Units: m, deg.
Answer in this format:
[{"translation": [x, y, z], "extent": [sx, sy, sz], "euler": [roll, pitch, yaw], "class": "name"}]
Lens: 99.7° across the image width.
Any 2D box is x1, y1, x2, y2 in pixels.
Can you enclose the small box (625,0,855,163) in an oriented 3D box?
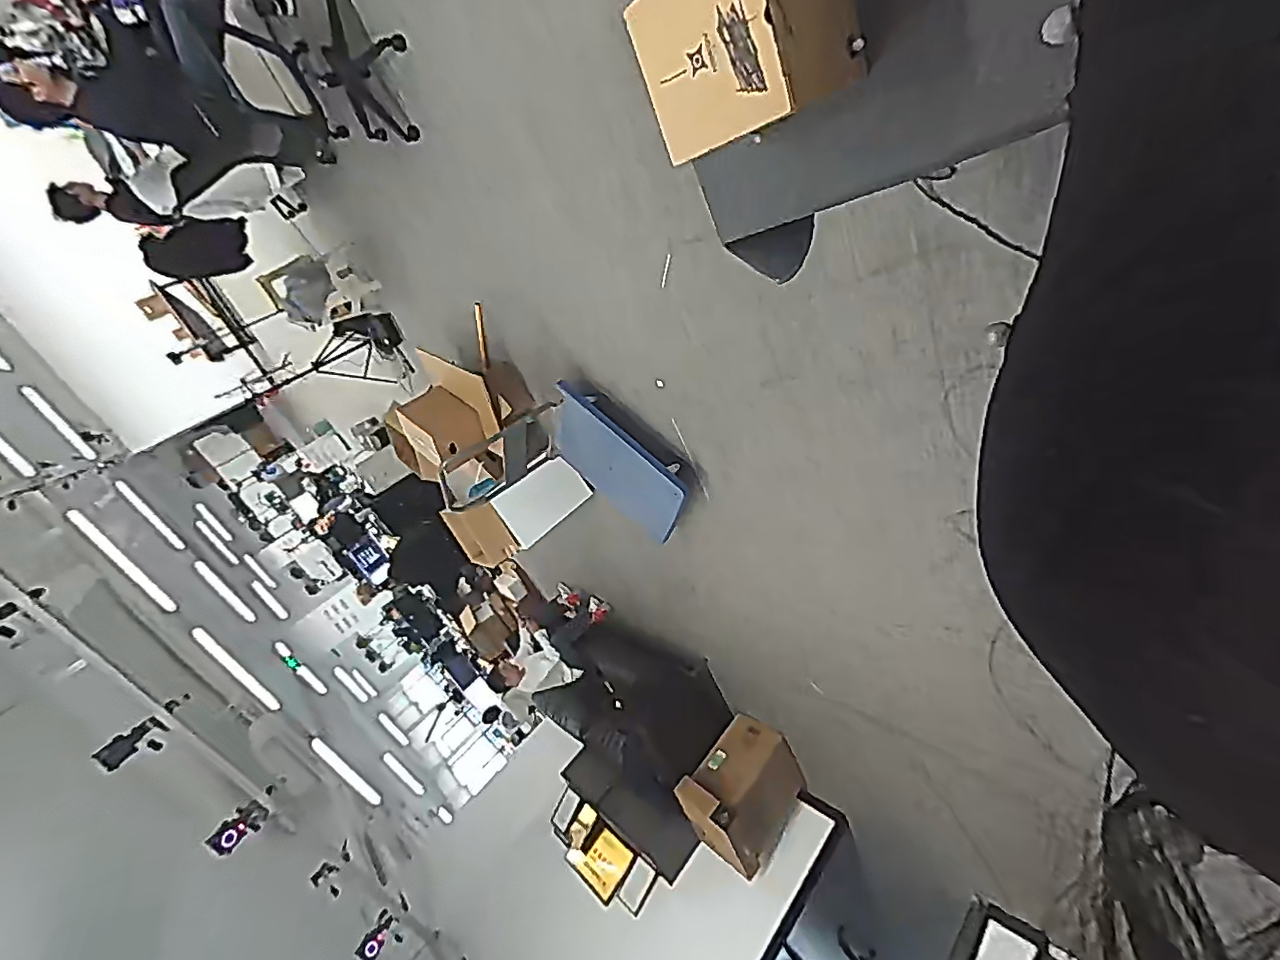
[{"translation": [0.121, -0.495, 0.609], "extent": [0.179, 0.176, 0.168], "euler": [10, 132, 49], "class": "small box"}]
